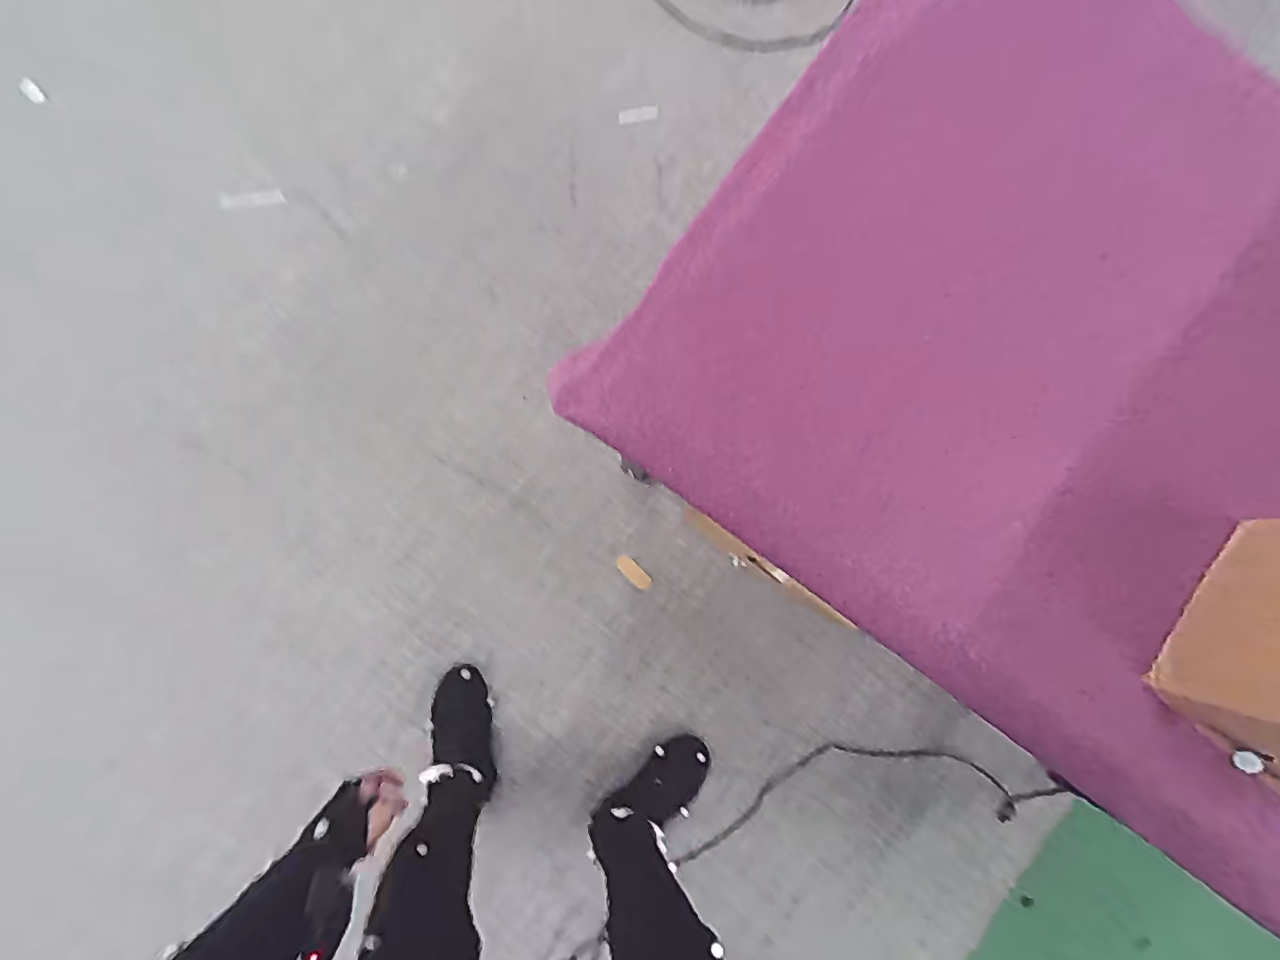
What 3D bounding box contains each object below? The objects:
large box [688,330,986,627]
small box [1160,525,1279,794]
[{"bbox_3d":[0.337,0.009,1.033,0.320,0.320,0.408,37,84,1],"label":"large box"},{"bbox_3d":[0.523,0.139,0.360,0.168,0.176,0.179,38,84,3],"label":"small box"}]
